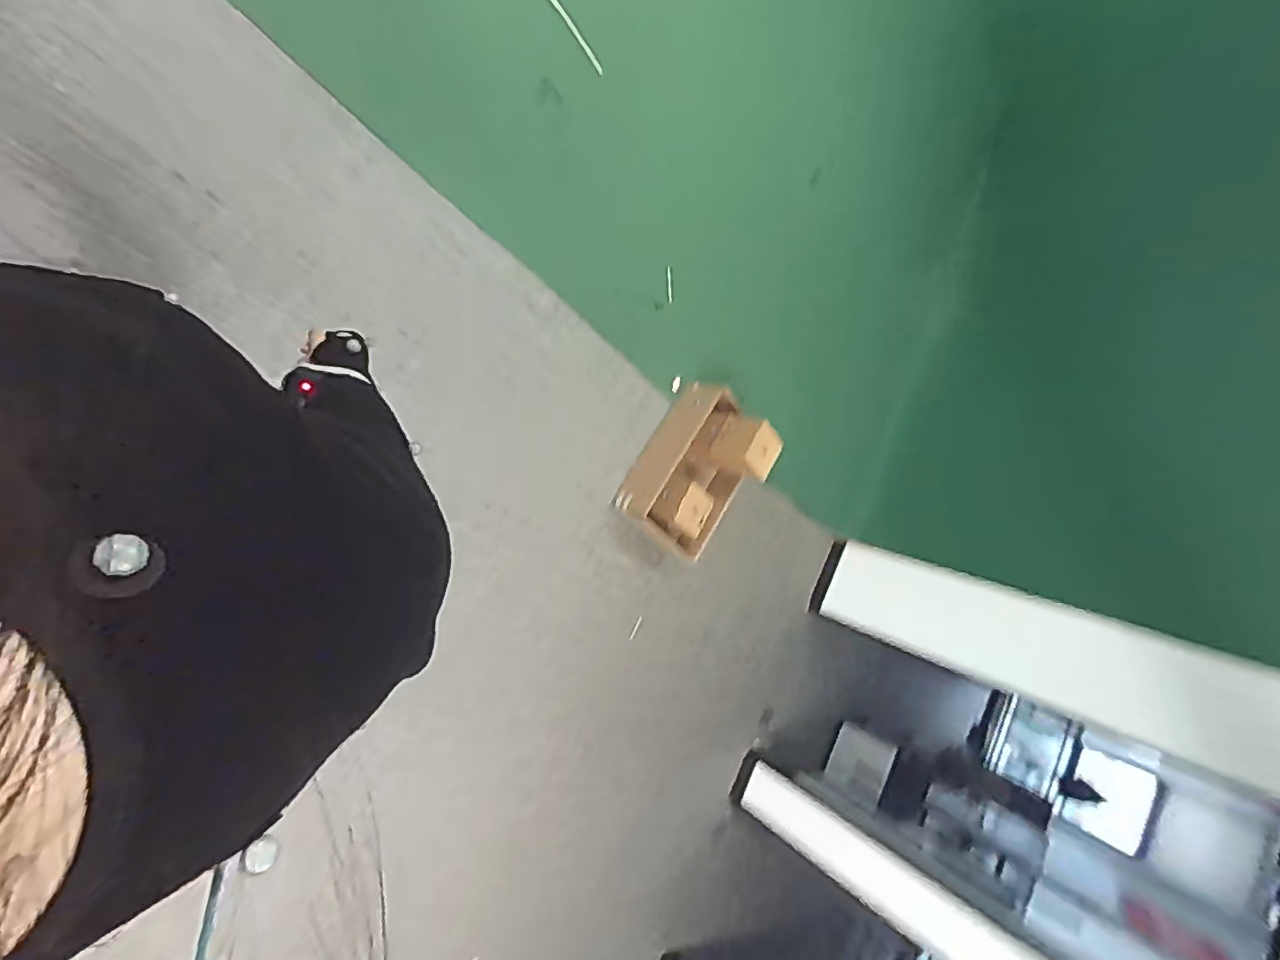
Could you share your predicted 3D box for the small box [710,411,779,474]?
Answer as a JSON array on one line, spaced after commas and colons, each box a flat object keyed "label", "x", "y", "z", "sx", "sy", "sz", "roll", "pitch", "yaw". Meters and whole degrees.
[{"label": "small box", "x": 0.402, "y": -0.150, "z": 2.086, "sx": 0.179, "sy": 0.176, "sz": 0.168, "roll": 43, "pitch": 73, "yaw": -41}]
